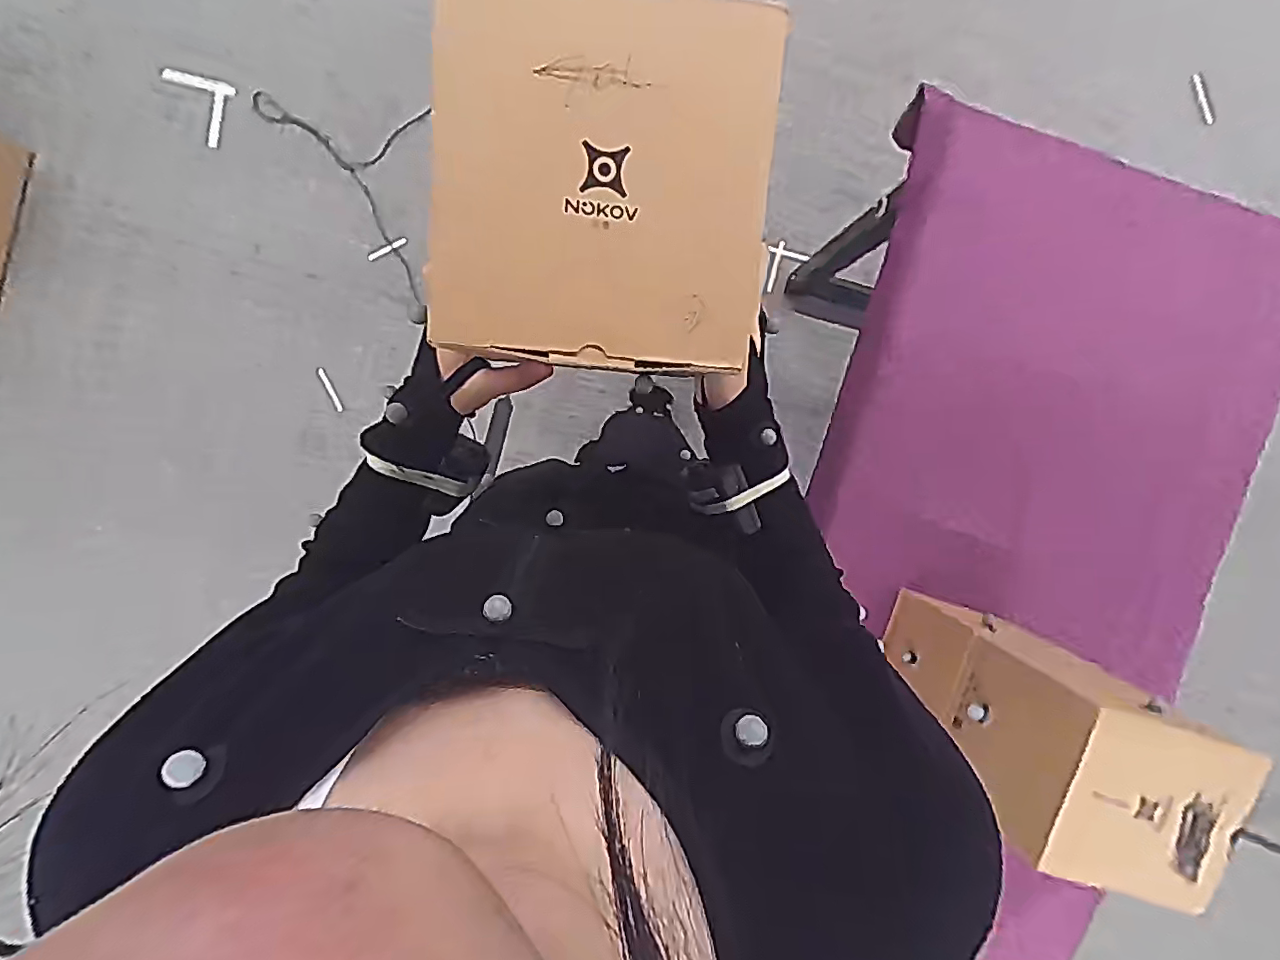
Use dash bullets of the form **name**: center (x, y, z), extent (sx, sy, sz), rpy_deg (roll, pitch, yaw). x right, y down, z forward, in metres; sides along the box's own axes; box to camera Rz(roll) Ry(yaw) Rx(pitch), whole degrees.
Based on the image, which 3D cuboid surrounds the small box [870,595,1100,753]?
- **small box**: center (0.448, 0.271, 0.735), extent (0.179, 0.176, 0.168), rpy_deg (18, 95, -6)

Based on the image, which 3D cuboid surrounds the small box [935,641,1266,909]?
- **small box**: center (0.462, 0.292, 0.573), extent (0.179, 0.176, 0.168), rpy_deg (18, 94, -5)

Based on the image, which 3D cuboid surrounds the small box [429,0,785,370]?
- **small box**: center (-0.026, -0.164, 0.340), extent (0.168, 0.176, 0.179), rpy_deg (2, 99, -7)
